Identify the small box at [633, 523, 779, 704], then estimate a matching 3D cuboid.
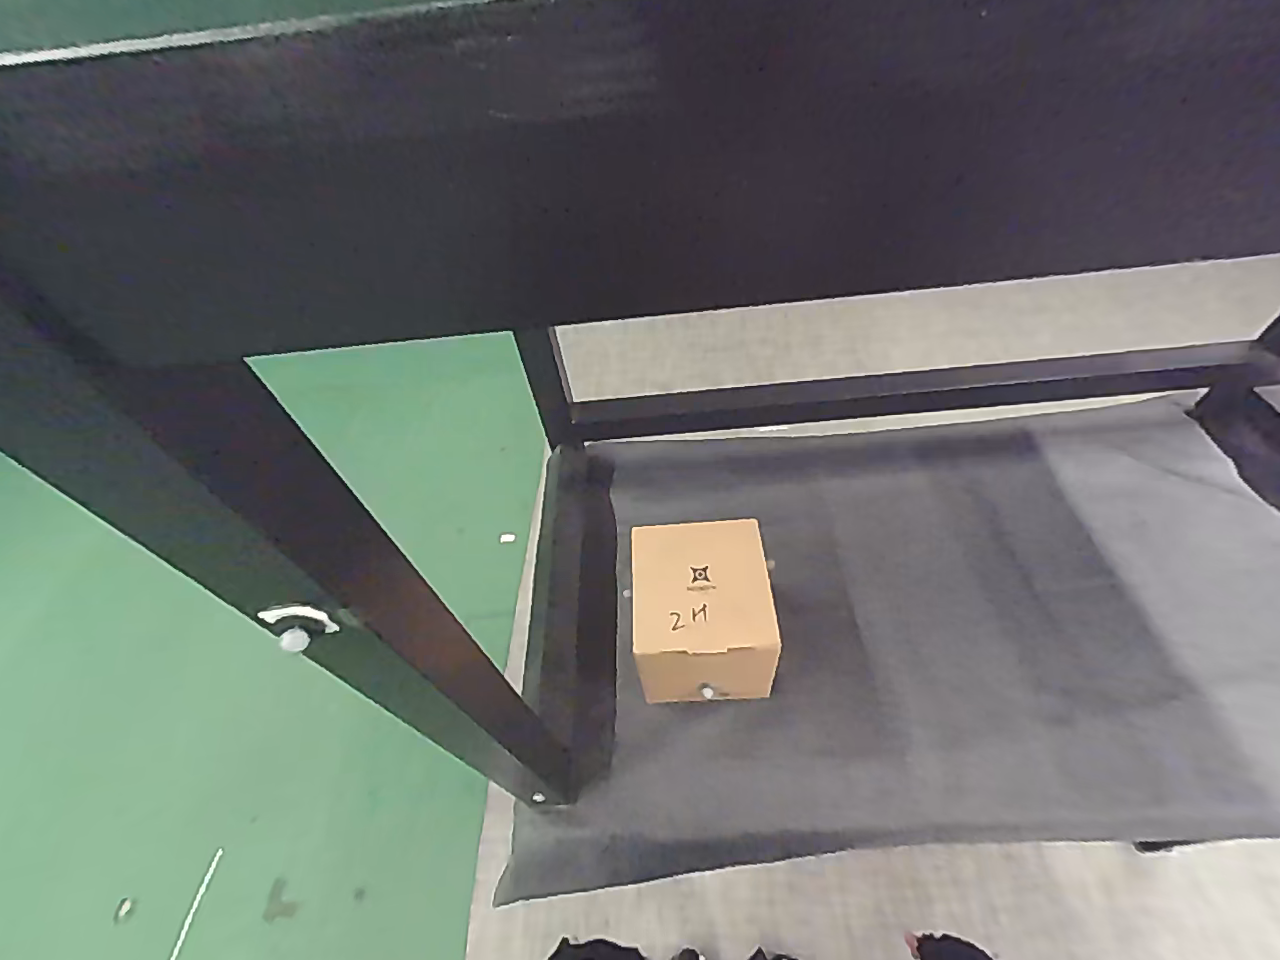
[{"bbox_3d":[0.080,0.178,0.715,0.168,0.176,0.179,-5,49,4],"label":"small box"}]
